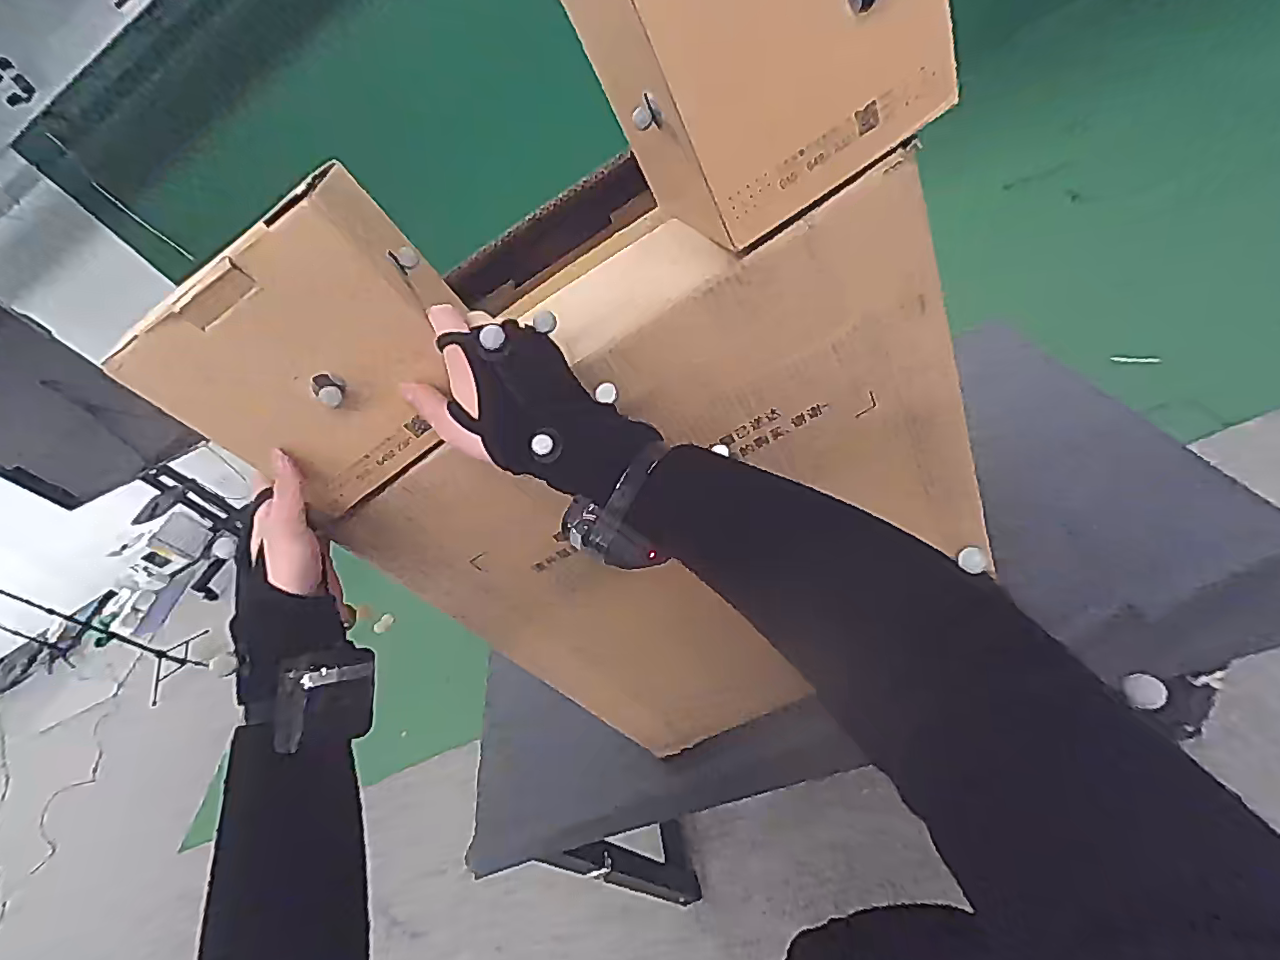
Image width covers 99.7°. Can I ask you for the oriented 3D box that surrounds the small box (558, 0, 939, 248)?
[{"bbox_3d":[0.068,-0.285,0.364,0.168,0.176,0.179,-32,38,5],"label":"small box"}]

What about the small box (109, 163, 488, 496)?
[{"bbox_3d":[-0.240,-0.111,0.430,0.168,0.176,0.179,-35,41,5],"label":"small box"}]
